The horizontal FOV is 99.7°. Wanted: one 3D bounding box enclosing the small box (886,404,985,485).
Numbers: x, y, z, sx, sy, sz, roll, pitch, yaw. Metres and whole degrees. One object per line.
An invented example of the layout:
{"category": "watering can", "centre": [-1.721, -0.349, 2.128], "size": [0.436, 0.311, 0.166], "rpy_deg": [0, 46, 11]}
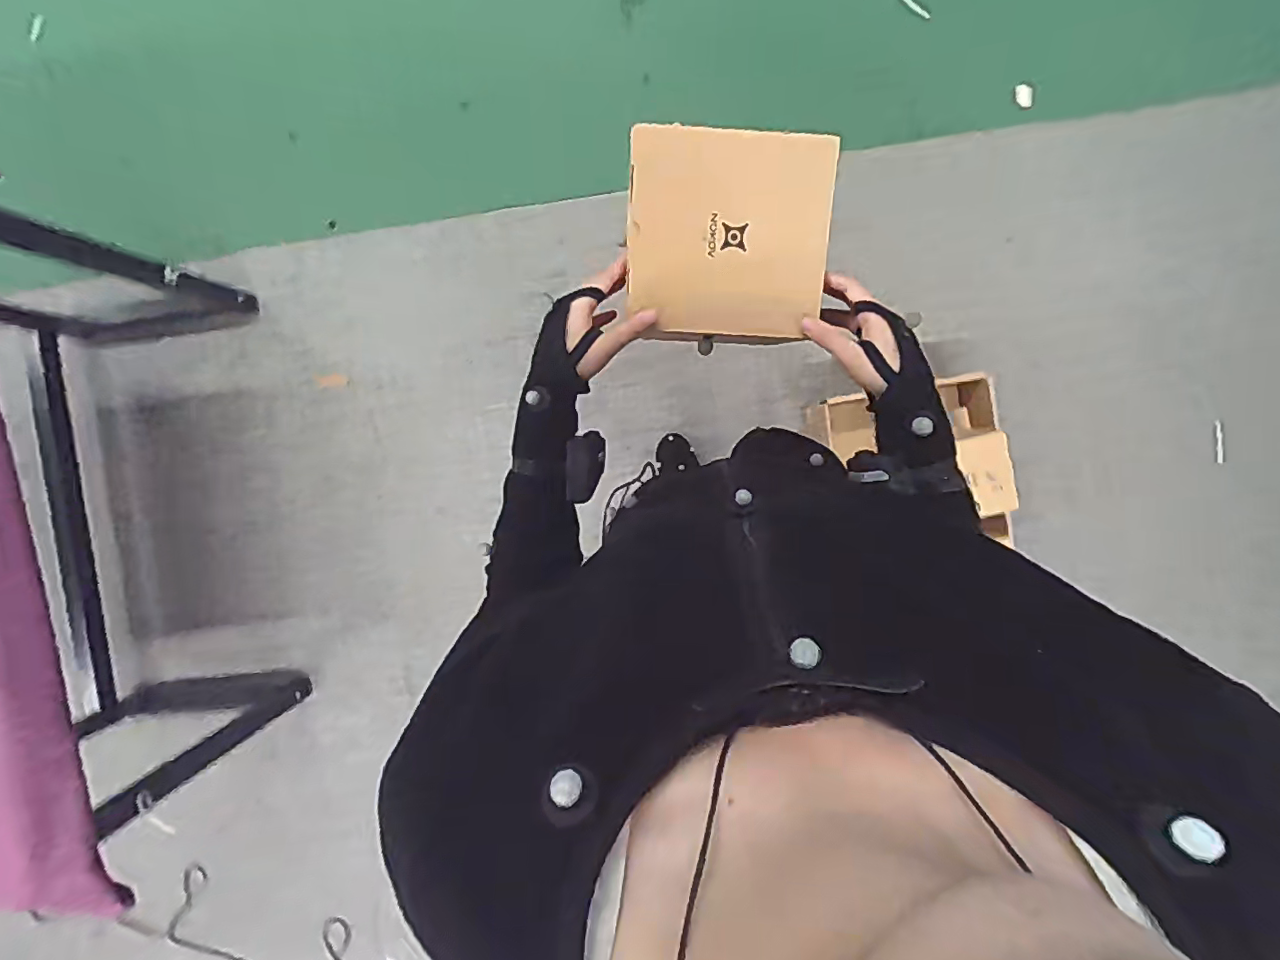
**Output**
{"category": "small box", "centre": [0.721, -0.083, 1.324], "size": [0.168, 0.176, 0.179], "rpy_deg": [-11, 96, 7]}

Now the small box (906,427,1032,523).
{"category": "small box", "centre": [0.696, -0.016, 1.169], "size": [0.179, 0.176, 0.168], "rpy_deg": [-13, 96, 8]}

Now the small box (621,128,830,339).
{"category": "small box", "centre": [0.073, -0.232, 0.548], "size": [0.179, 0.176, 0.168], "rpy_deg": [1, 103, 2]}
